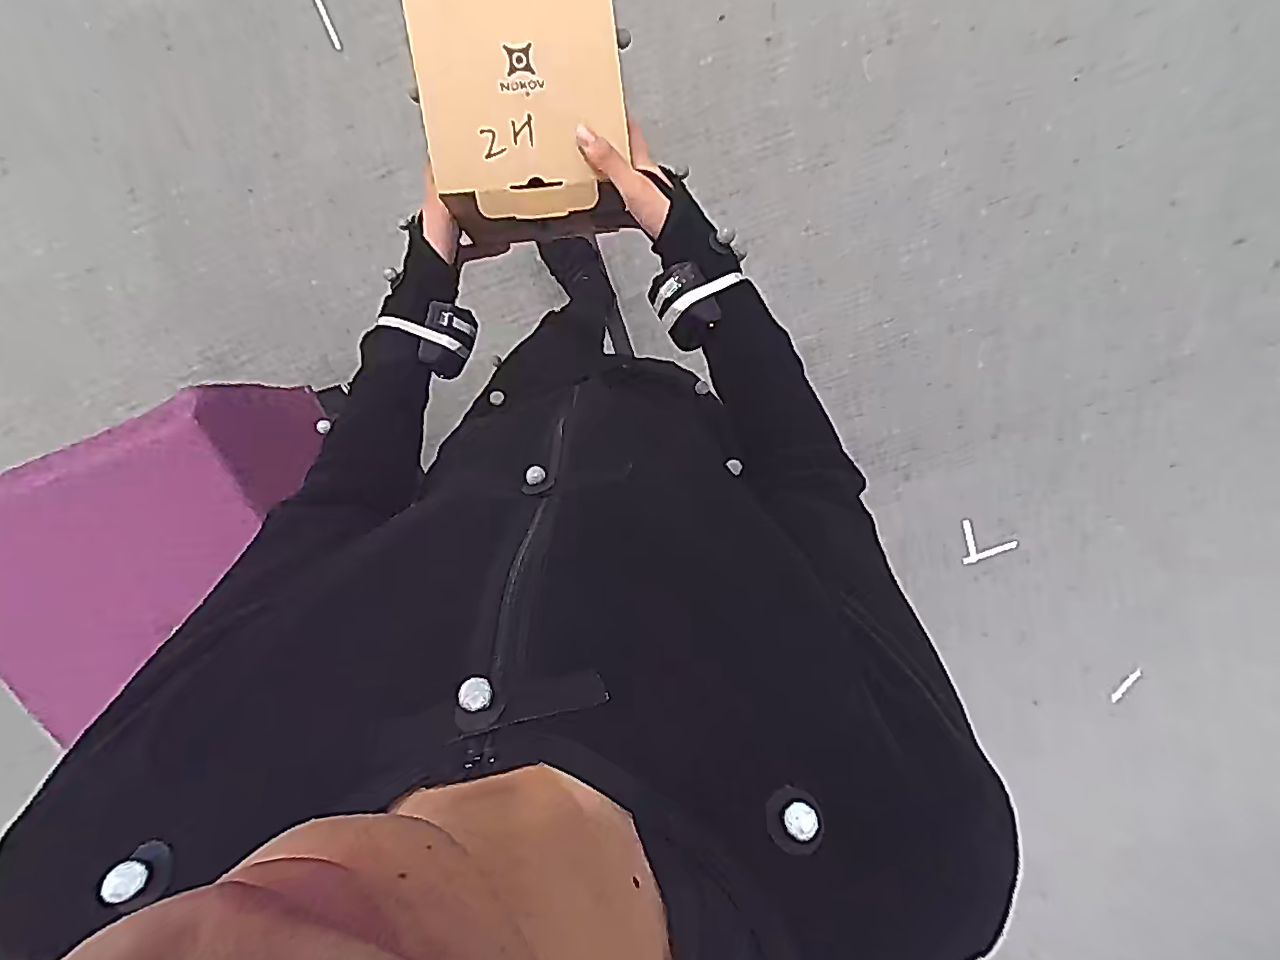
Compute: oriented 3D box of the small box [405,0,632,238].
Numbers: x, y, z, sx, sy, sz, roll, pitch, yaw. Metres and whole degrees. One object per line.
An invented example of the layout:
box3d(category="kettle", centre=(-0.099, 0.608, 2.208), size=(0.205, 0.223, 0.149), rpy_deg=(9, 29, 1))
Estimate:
box3d(category="small box", centre=(-0.105, -0.347, 0.507), size=(0.168, 0.176, 0.179), rpy_deg=(-8, 101, -5))
